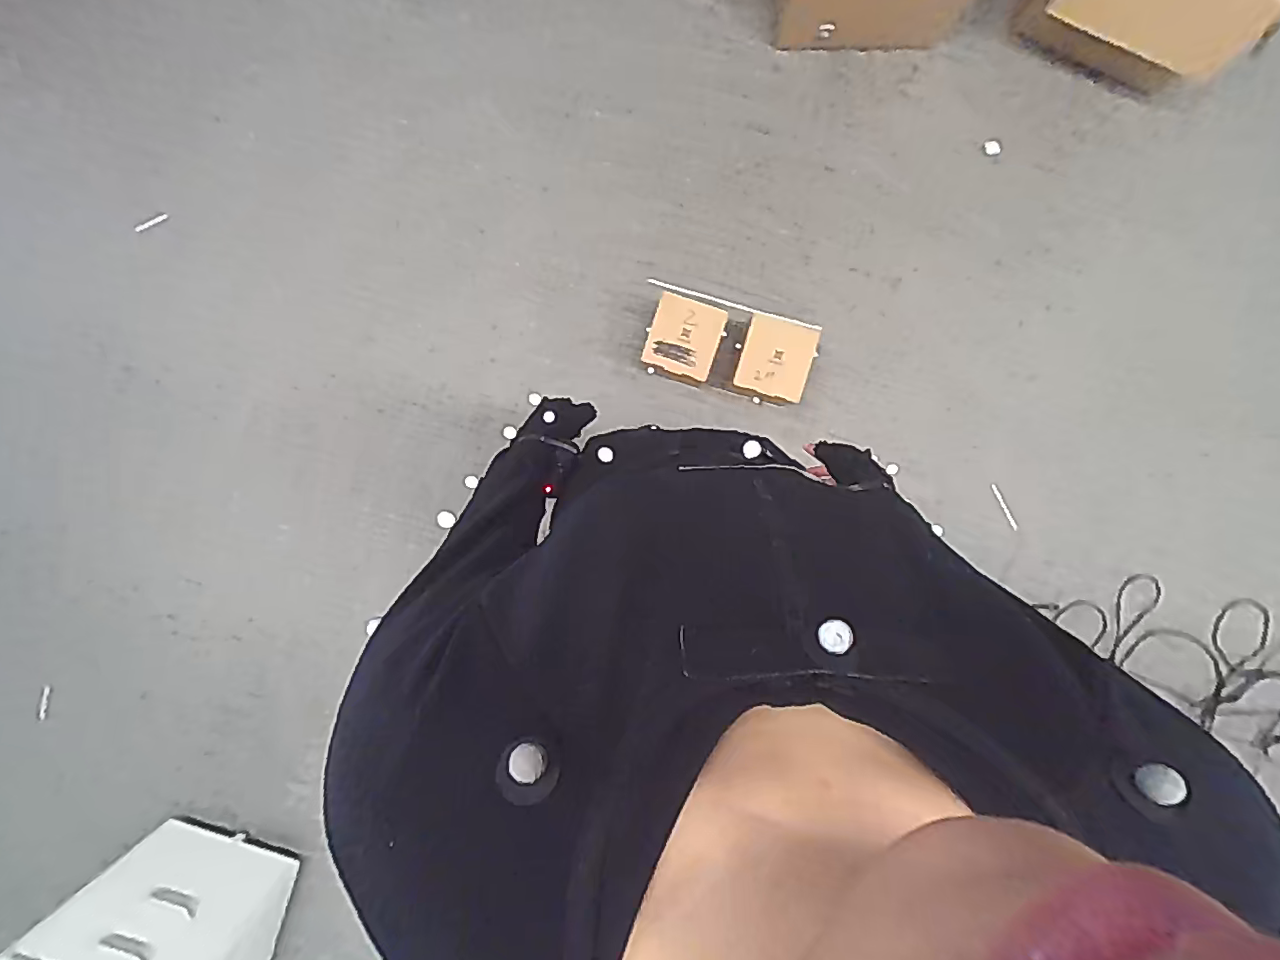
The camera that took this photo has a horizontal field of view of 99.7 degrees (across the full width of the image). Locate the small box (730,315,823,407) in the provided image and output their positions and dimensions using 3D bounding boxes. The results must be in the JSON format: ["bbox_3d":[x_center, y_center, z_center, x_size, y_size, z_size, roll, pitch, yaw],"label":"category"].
[{"bbox_3d":[0.331,-0.289,1.350,0.168,0.176,0.179,17,96,1],"label":"small box"}]
